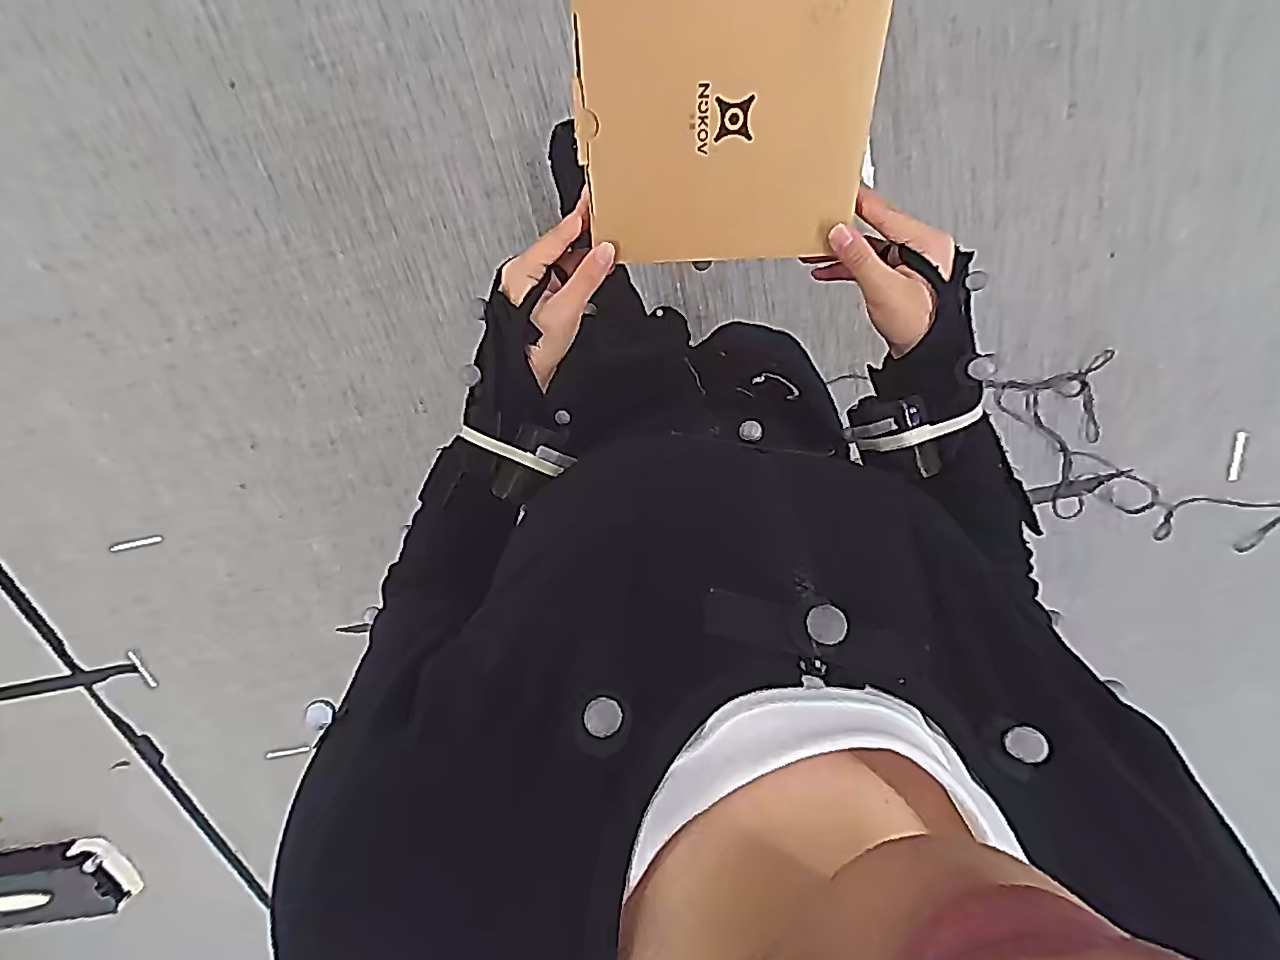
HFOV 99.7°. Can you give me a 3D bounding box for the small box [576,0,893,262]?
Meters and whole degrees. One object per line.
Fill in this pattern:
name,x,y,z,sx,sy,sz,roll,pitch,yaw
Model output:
small box,0.052,-0.268,0.391,0.179,0.176,0.168,-1,128,1
